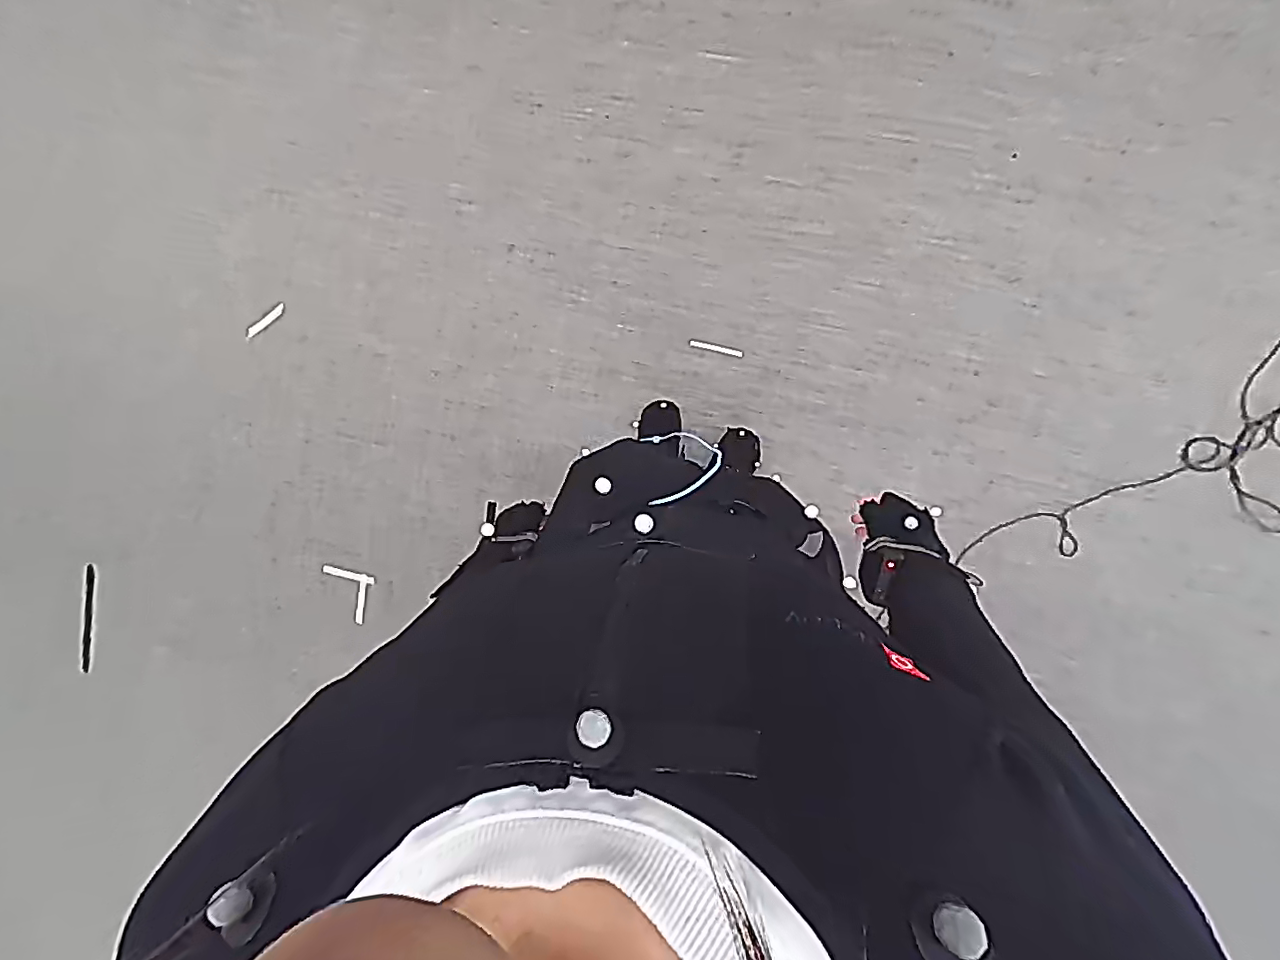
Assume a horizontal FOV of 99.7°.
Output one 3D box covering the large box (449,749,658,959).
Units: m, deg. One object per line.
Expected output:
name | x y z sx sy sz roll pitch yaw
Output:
large box | -0.215 1.042 1.471 0.408 0.320 0.320 37 99 5
